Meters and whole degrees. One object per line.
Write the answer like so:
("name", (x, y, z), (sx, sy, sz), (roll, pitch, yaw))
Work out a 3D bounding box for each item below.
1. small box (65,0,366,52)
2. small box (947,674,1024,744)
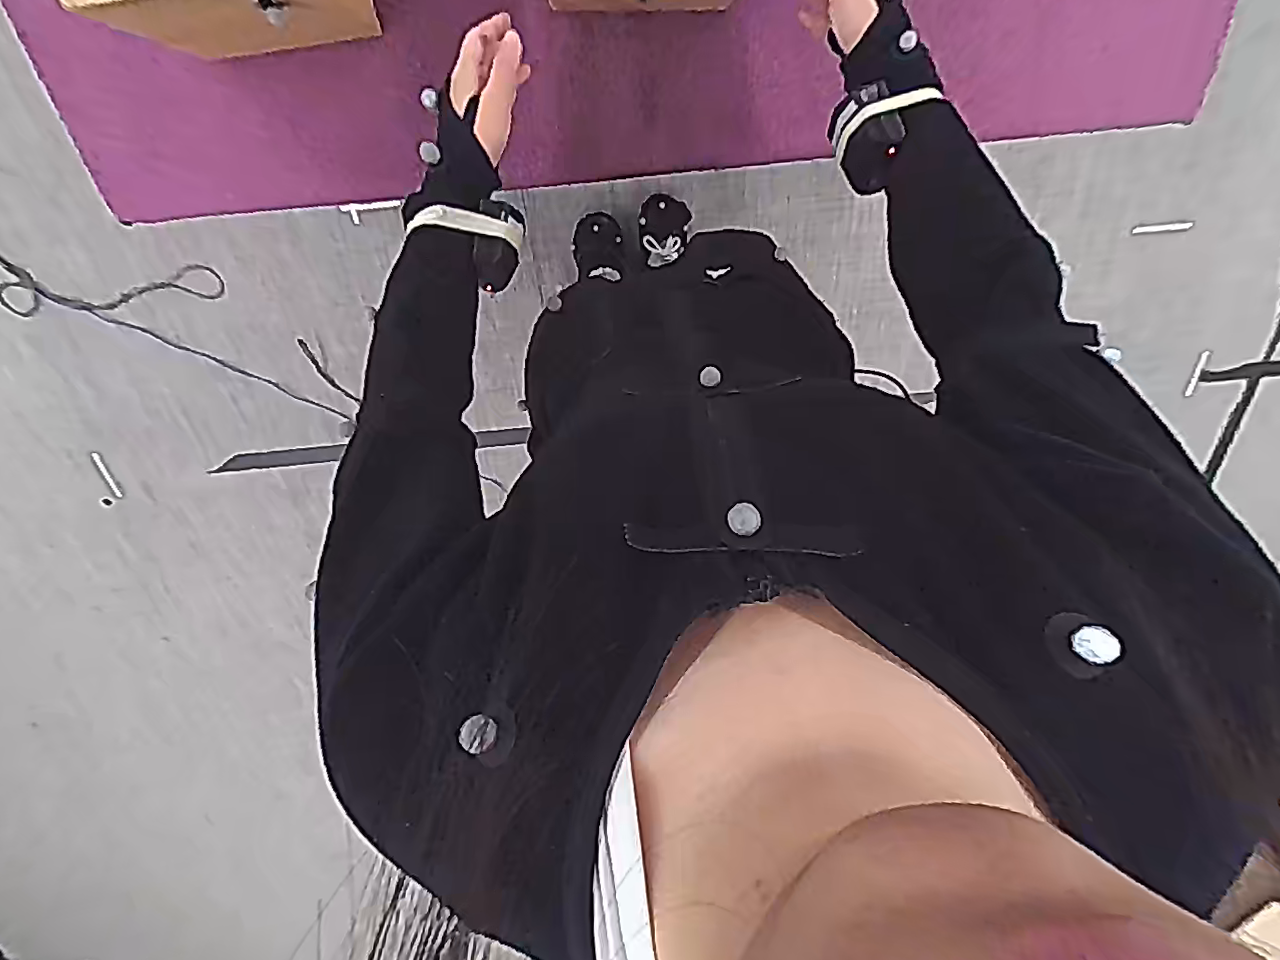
("small box", (-0.338, -0.457, 0.414), (0.179, 0.176, 0.168), (-8, 117, 0))
("small box", (1.363, 0.900, 2.147), (0.168, 0.176, 0.179), (-39, 116, 17))
